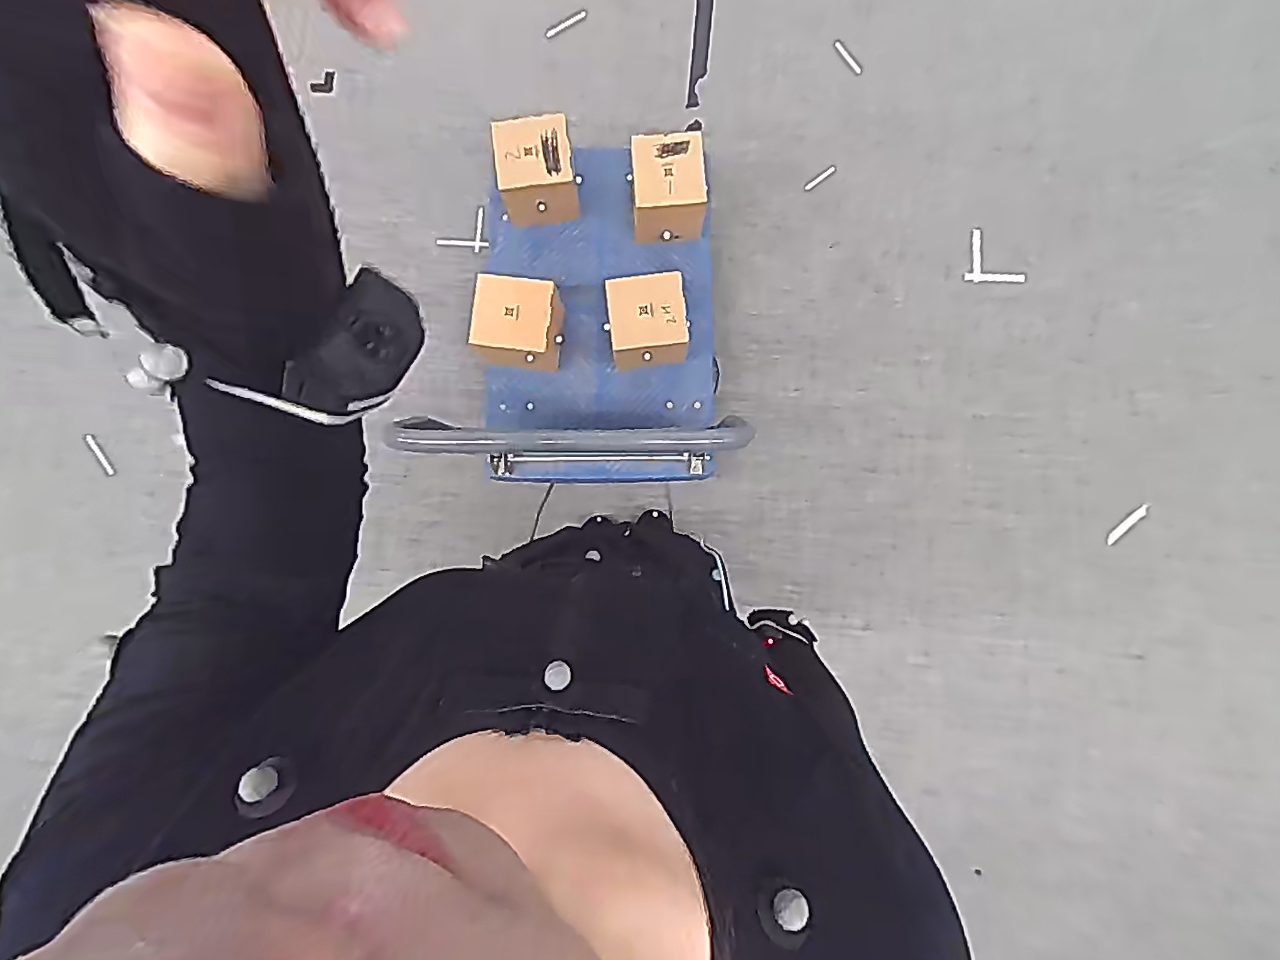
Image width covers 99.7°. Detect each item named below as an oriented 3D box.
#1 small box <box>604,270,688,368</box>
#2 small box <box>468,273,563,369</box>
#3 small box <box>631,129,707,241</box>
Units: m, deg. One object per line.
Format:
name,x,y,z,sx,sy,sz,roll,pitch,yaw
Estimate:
small box,0.015,-0.374,1.286,0.179,0.176,0.168,-7,86,0
small box,-0.289,-0.371,1.289,0.179,0.176,0.168,6,85,-1
small box,0.065,-0.708,1.310,0.168,0.176,0.179,-4,87,0
